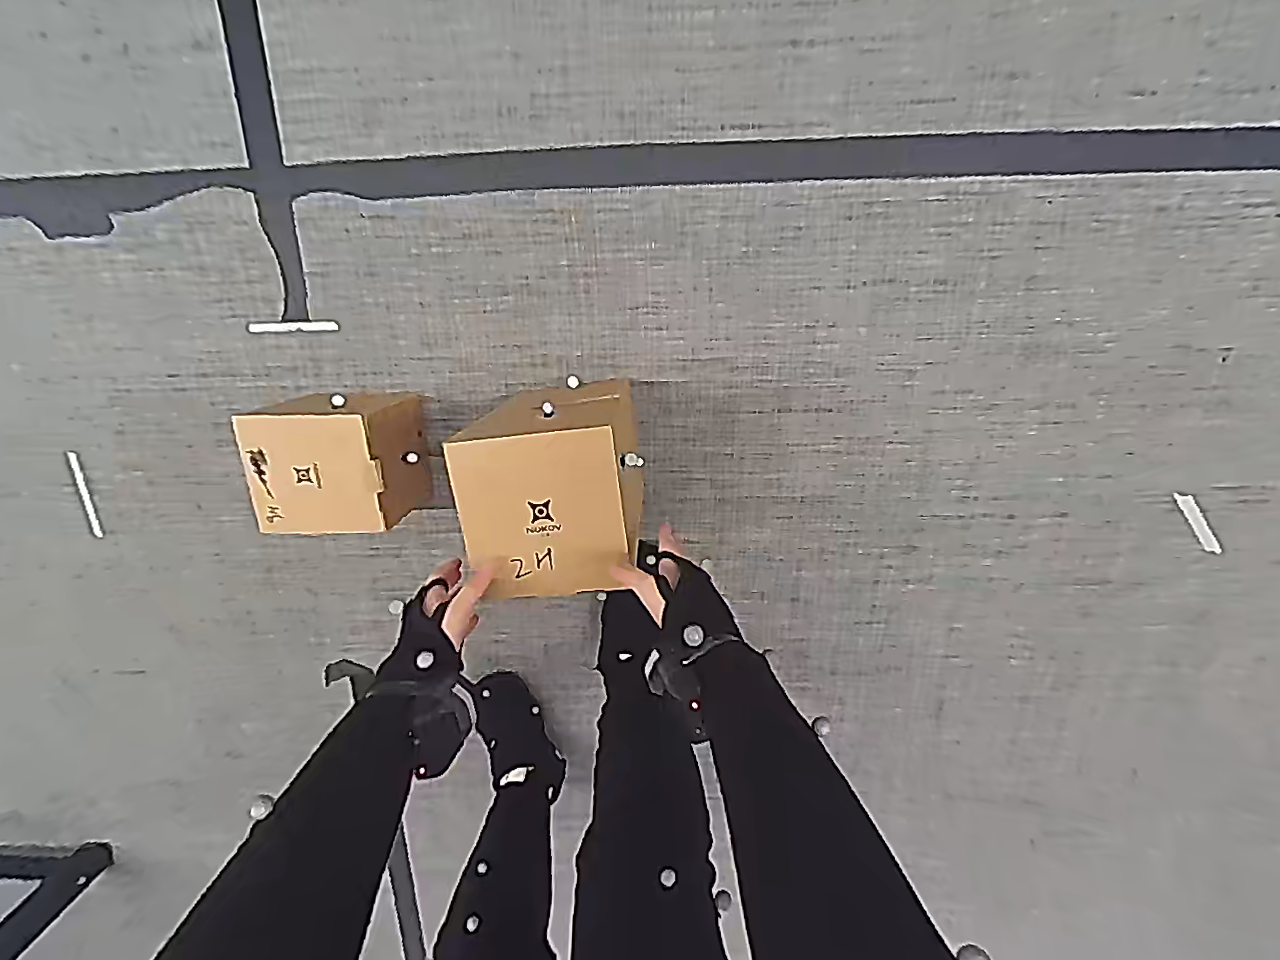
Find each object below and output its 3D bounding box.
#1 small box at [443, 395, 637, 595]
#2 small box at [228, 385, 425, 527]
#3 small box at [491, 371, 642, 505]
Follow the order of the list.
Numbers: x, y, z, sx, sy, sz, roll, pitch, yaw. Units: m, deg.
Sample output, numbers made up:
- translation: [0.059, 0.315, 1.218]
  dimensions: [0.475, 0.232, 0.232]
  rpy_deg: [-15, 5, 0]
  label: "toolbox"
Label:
- translation: [-0.094, 0.005, 0.599]
  dimensions: [0.168, 0.176, 0.179]
  rpy_deg: [-5, 108, 4]
  label: "small box"
- translation: [-0.424, -0.042, 0.769]
  dimensions: [0.179, 0.176, 0.168]
  rpy_deg: [0, 109, 1]
  label: "small box"
- translation: [-0.088, -0.047, 0.755]
  dimensions: [0.168, 0.176, 0.179]
  rpy_deg: [-6, 108, 4]
  label: "small box"
